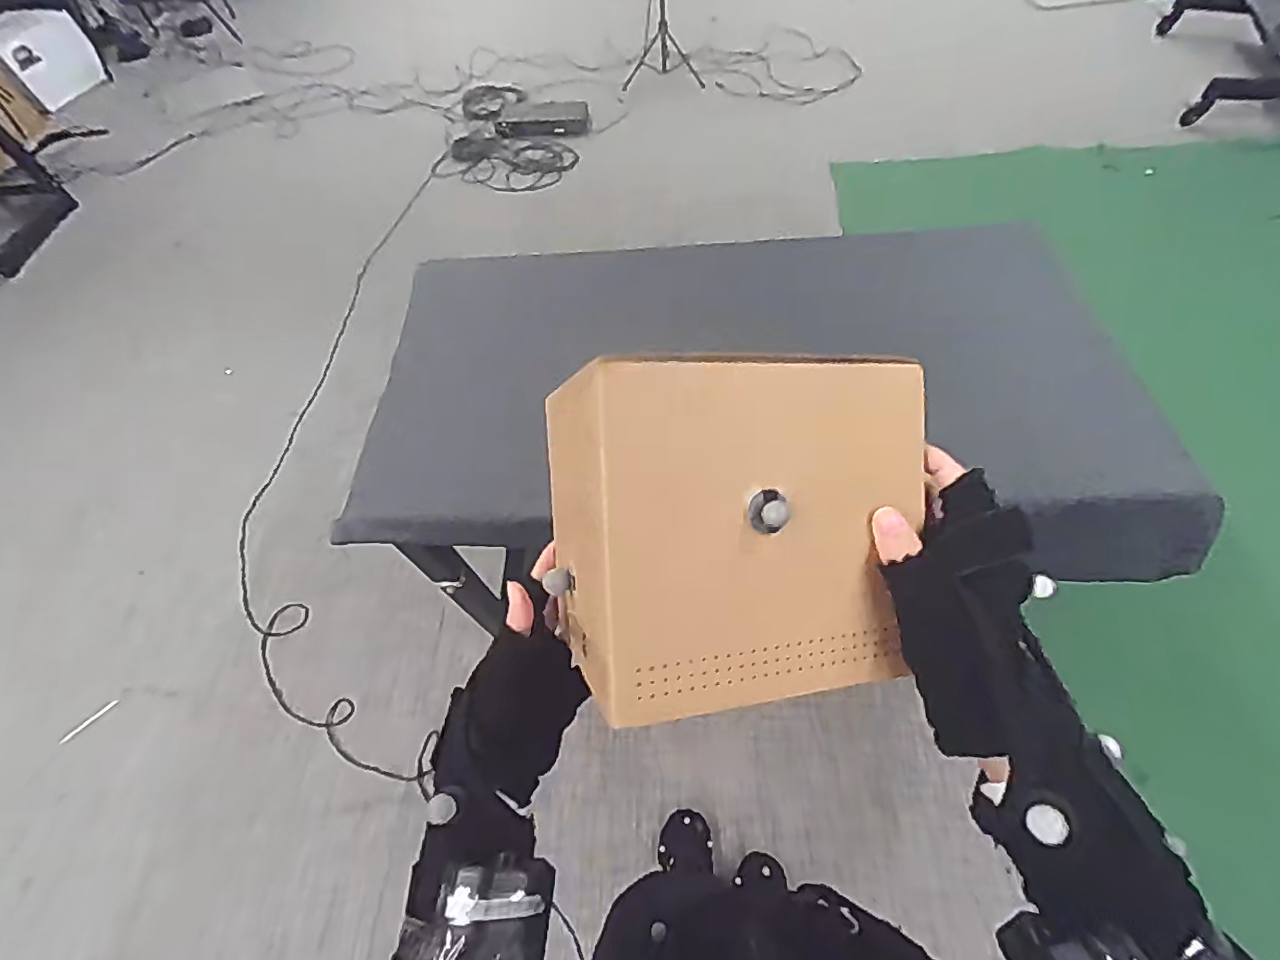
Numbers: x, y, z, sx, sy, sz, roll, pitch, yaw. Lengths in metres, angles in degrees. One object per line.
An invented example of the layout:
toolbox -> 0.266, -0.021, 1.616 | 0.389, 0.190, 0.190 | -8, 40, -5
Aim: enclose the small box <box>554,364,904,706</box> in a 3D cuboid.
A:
small box -> 0.044, 0.023, 0.354 | 0.179, 0.168, 0.176 | -4, 92, -17
